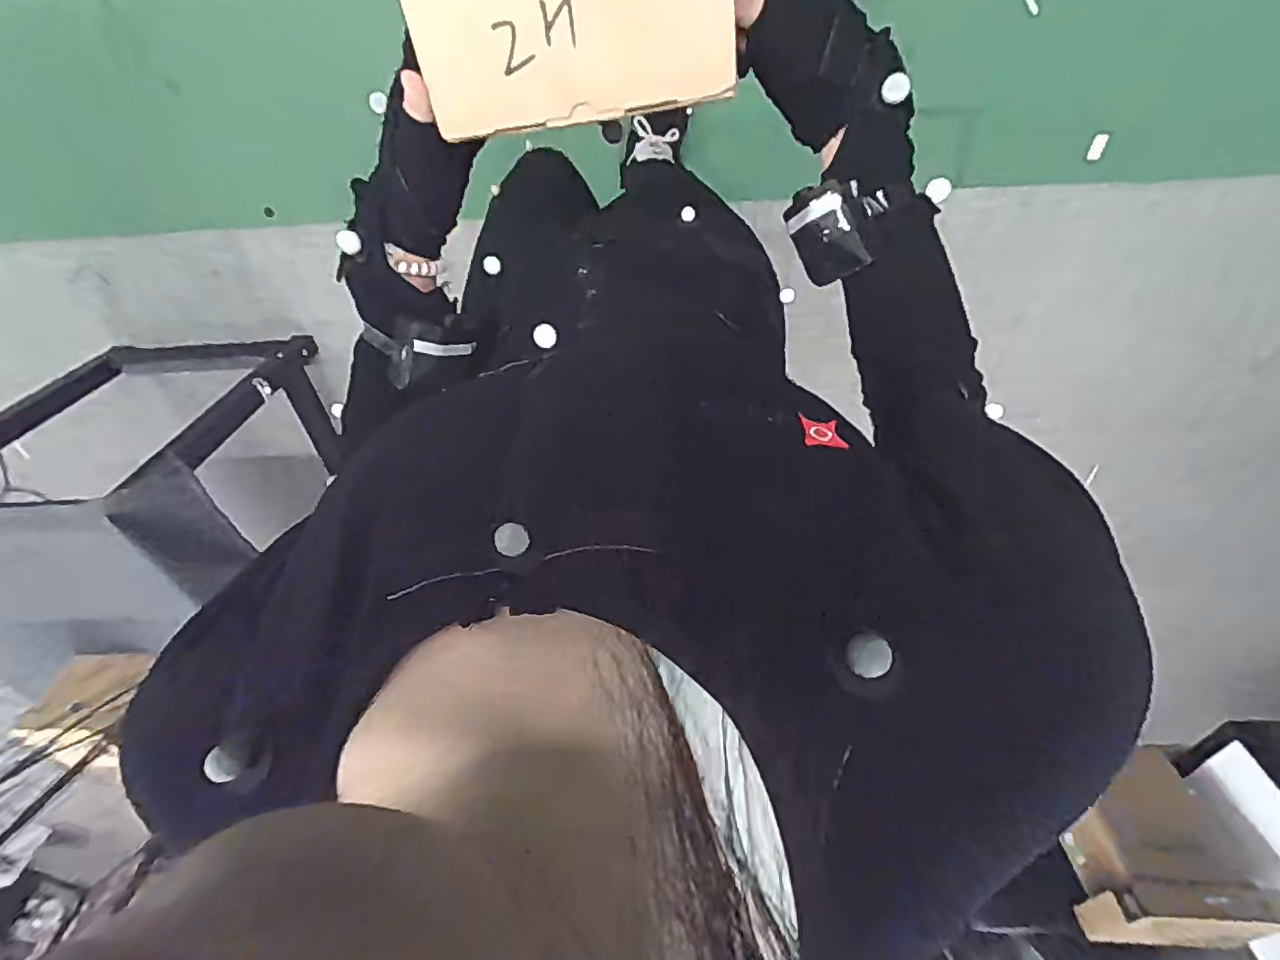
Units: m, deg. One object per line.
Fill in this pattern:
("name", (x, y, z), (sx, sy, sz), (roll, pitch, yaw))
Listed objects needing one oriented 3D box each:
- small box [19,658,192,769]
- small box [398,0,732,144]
("small box", (-1.128, 0.501, 1.166), (0.179, 0.176, 0.168), (-2, 129, 5))
("small box", (-0.037, -0.309, 0.312), (0.168, 0.176, 0.179), (-4, 124, 9))
